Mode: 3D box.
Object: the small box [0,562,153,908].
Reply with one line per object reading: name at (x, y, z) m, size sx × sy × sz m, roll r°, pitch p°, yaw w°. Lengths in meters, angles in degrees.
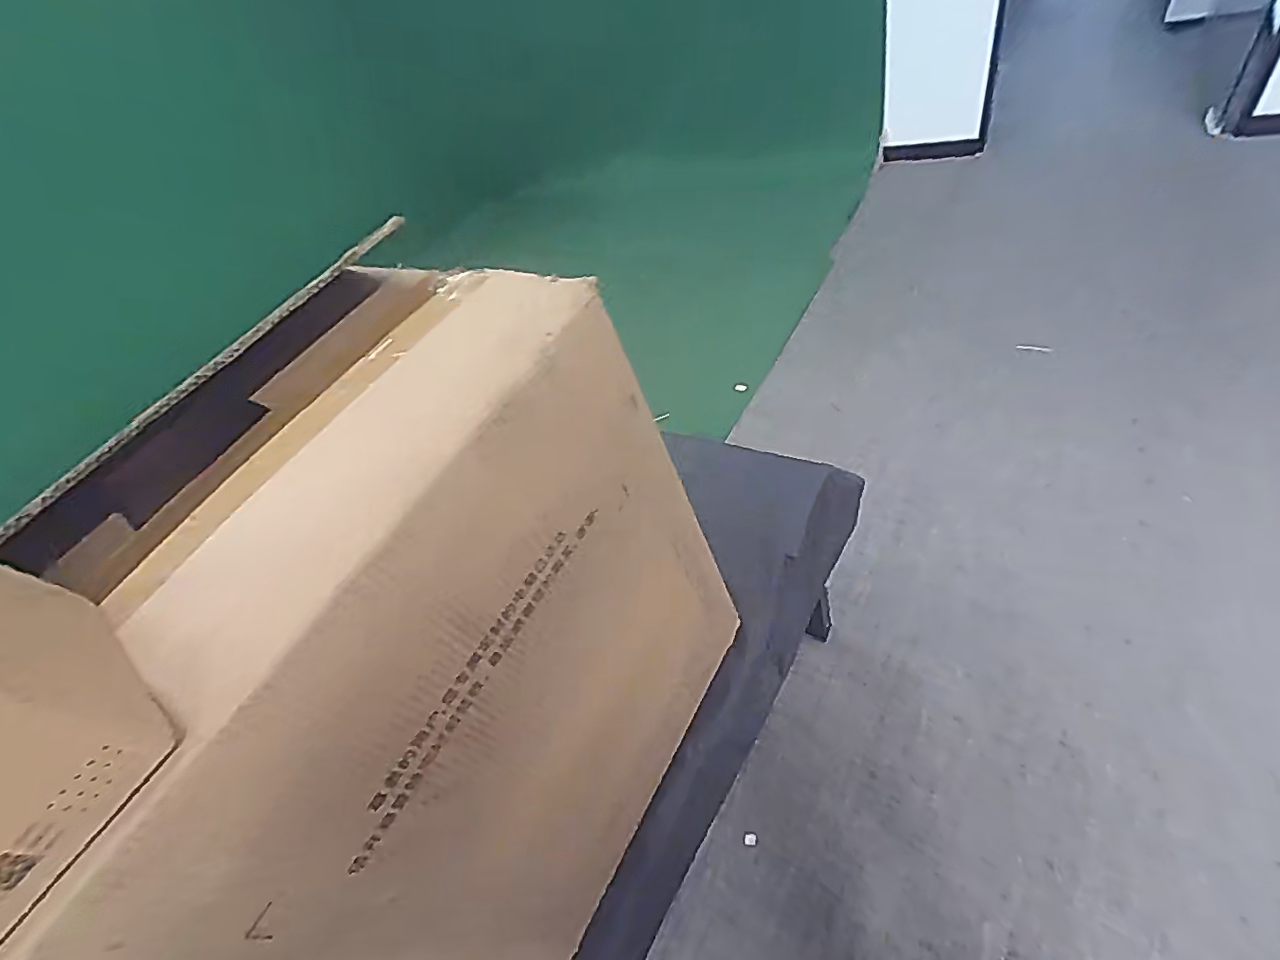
small box at (-0.359, 0.113, 0.219) m, size 0.179 × 0.176 × 0.168 m, roll 19°, pitch 64°, yaw 34°
